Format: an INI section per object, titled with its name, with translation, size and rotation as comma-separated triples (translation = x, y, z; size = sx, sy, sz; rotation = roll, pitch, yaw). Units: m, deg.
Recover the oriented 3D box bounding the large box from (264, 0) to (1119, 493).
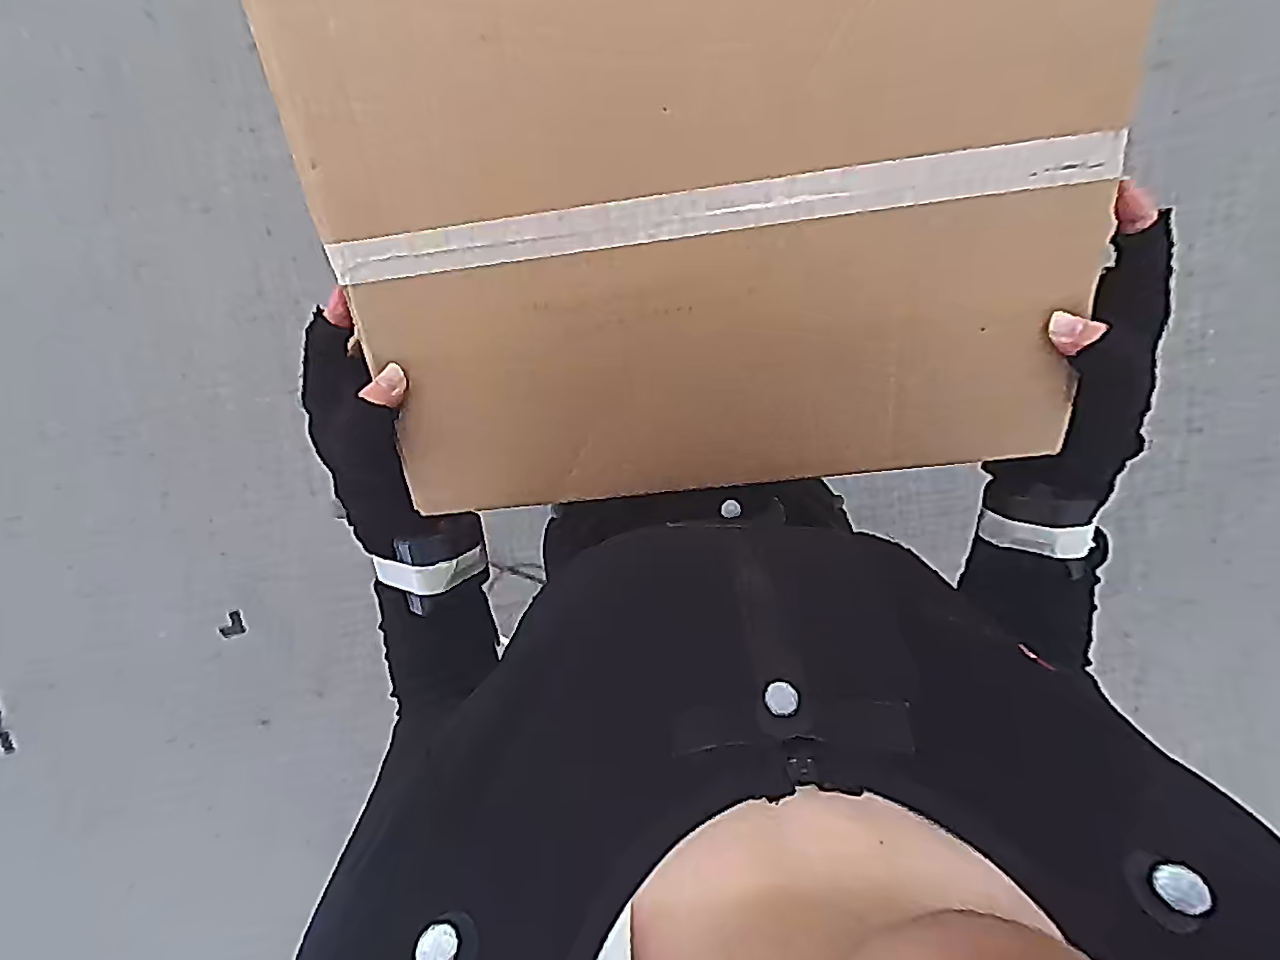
[large box]
translation = 0.033, -0.211, 0.425
size = 0.408, 0.320, 0.320
rotation = -6, 115, 4
